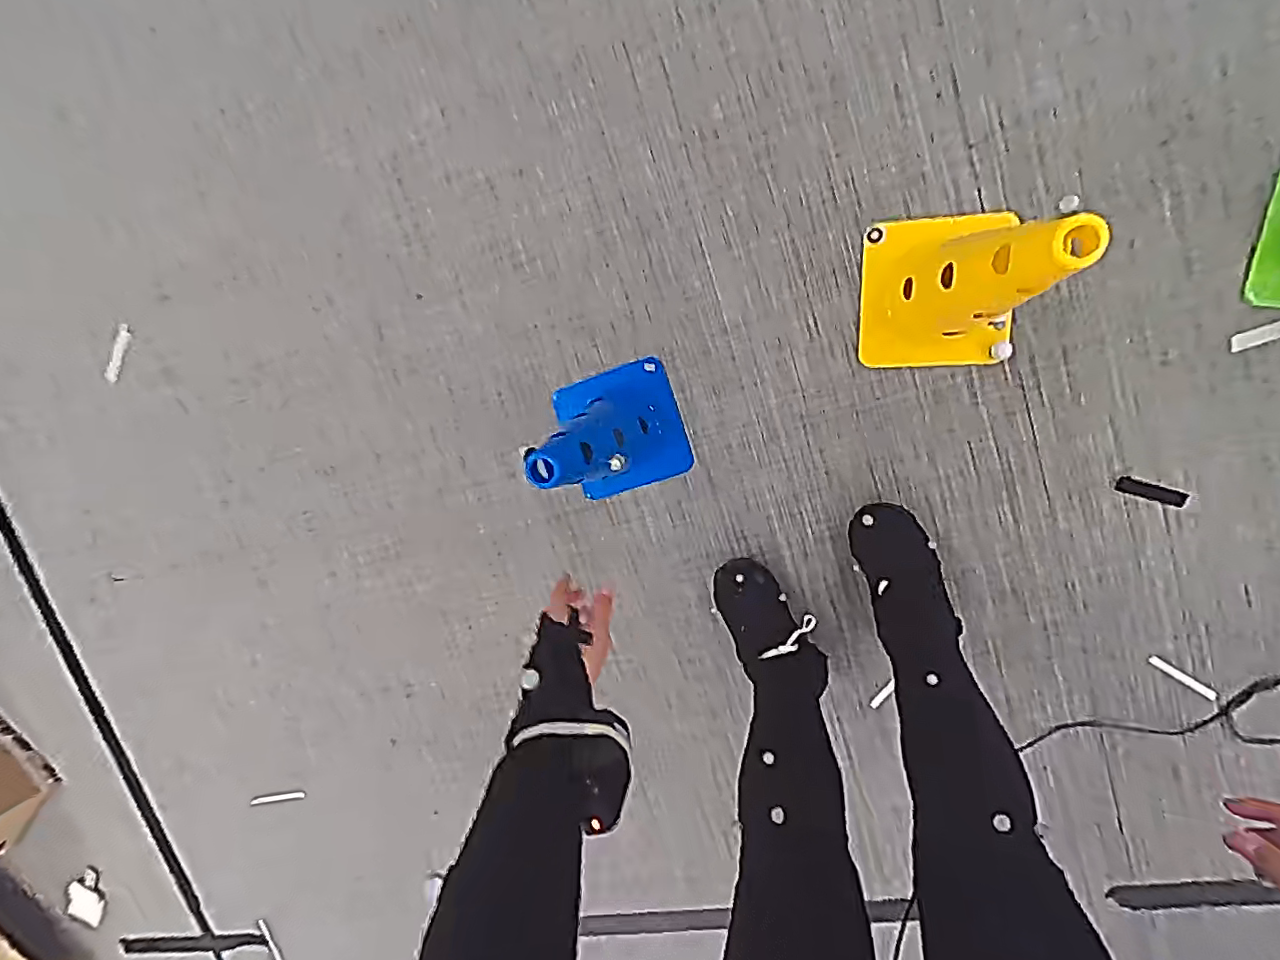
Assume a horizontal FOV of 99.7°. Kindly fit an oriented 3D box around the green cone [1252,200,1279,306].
[{"bbox_3d":[0.840,-0.273,0.484,0.200,0.368,0.202,6,104,11],"label":"green cone"}]
